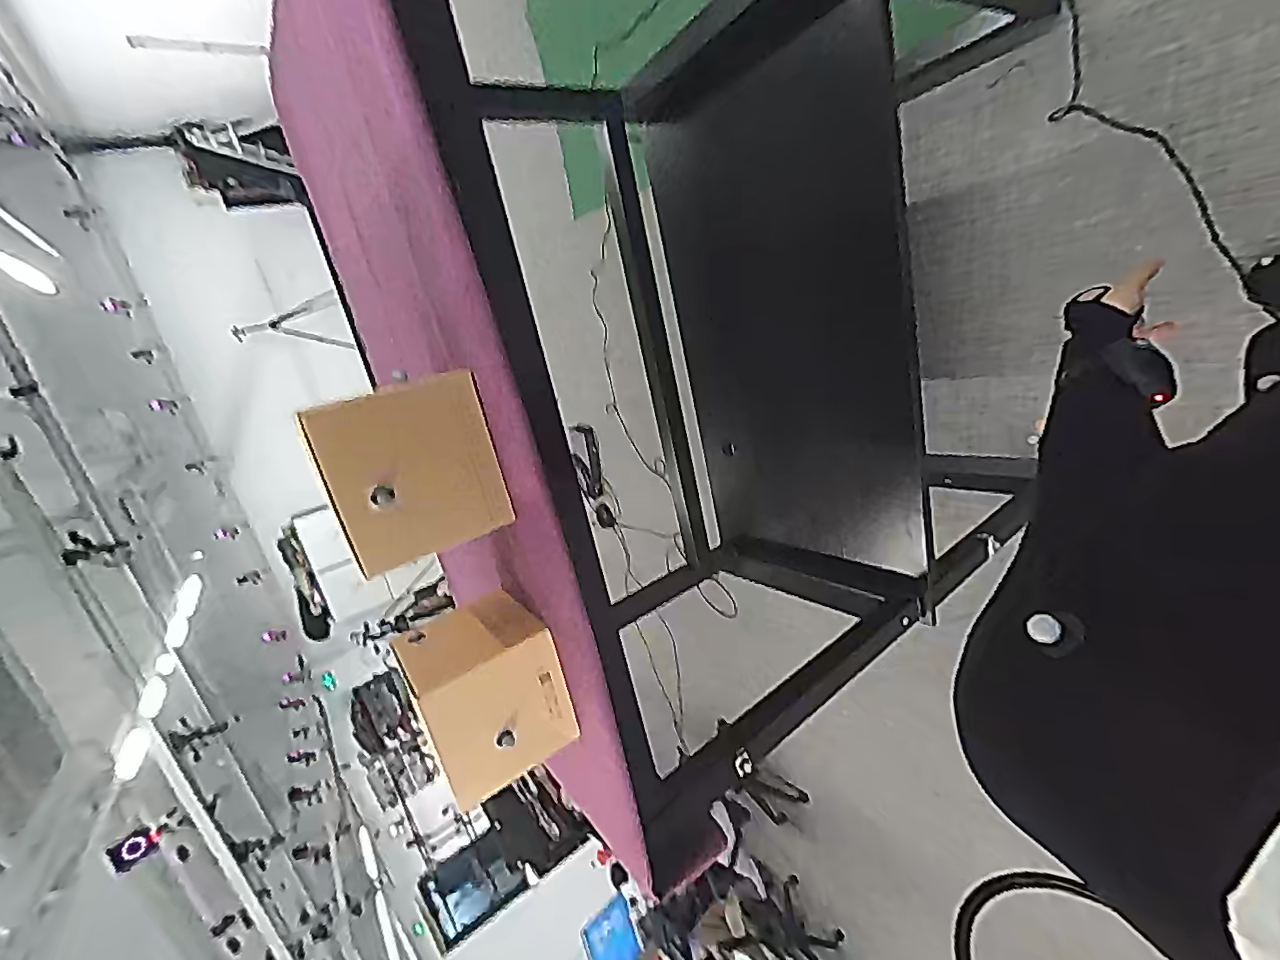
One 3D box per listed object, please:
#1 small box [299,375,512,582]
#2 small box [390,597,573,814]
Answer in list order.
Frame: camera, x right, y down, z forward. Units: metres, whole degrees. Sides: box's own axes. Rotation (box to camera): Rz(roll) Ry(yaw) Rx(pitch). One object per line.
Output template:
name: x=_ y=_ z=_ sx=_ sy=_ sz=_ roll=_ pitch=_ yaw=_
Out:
small box: x=-0.266 y=-0.013 z=0.624 sx=0.168 sy=0.176 sz=0.179 roll=11 pitch=119 yaw=55
small box: x=-0.202 y=0.276 z=0.711 sx=0.179 sy=0.176 sz=0.168 roll=12 pitch=119 yaw=56
